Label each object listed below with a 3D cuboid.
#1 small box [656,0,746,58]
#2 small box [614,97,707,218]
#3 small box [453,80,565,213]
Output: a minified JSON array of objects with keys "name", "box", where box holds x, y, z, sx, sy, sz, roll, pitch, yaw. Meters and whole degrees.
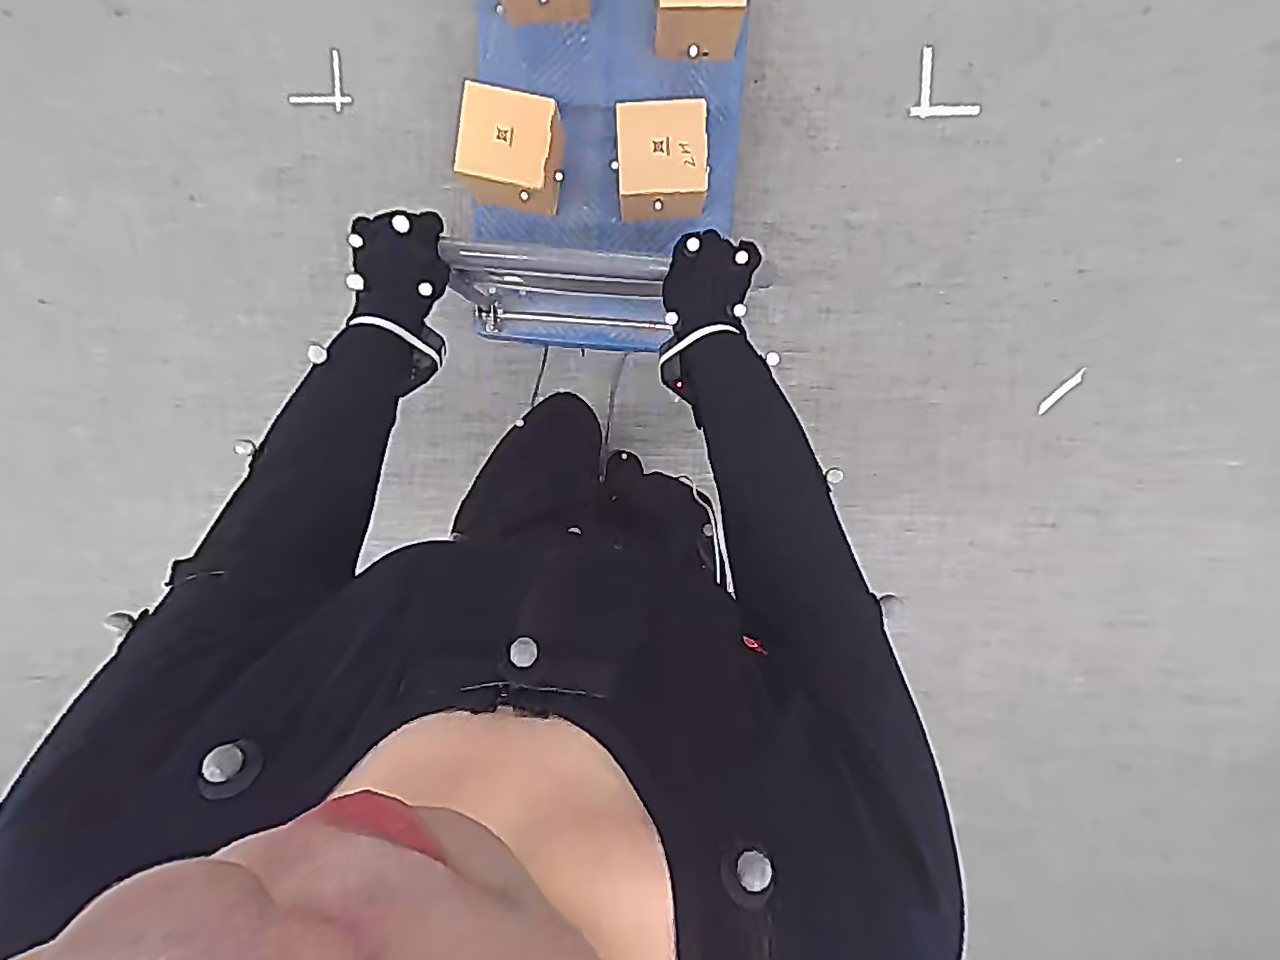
[{"name":"small box","box":[0.116,-0.978,1.062,0.168,0.176,0.179,0,100,0]},{"name":"small box","box":[0.042,-0.653,1.114,0.179,0.176,0.168,-2,99,0]},{"name":"small box","box":[-0.261,-0.672,1.111,0.179,0.176,0.168,10,98,-3]}]
